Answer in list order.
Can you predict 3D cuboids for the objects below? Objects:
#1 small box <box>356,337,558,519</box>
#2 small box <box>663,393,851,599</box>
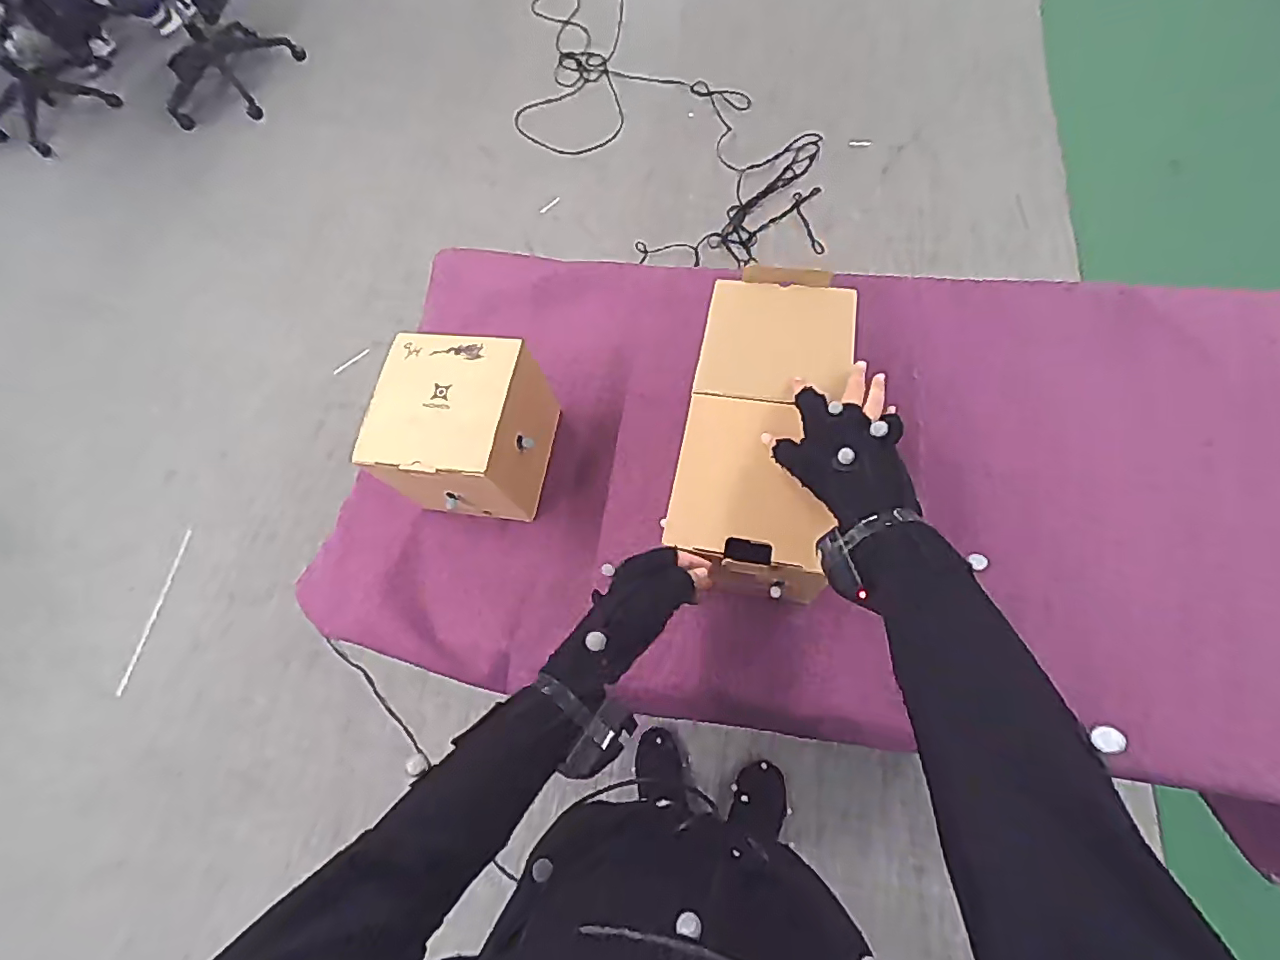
[{"bbox_3d":[-0.216,-0.059,0.692,0.168,0.176,0.179,6,70,10],"label":"small box"},{"bbox_3d":[0.129,0.026,0.608,0.168,0.176,0.179,9,69,11],"label":"small box"}]
